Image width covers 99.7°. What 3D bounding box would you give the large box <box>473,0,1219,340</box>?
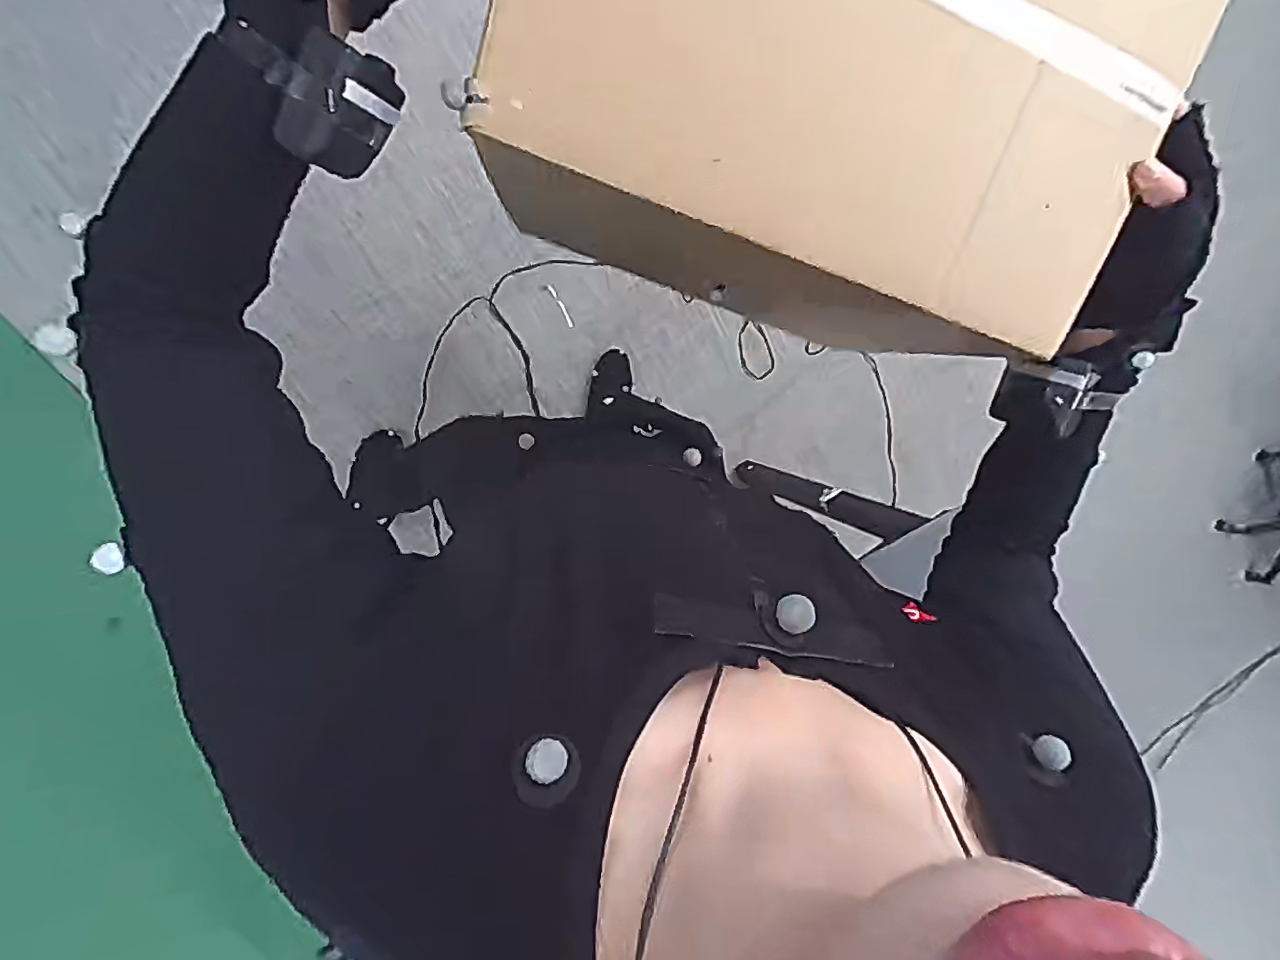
[{"bbox_3d":[0.125,-0.327,0.445,0.408,0.320,0.320,17,103,-10],"label":"large box"}]
